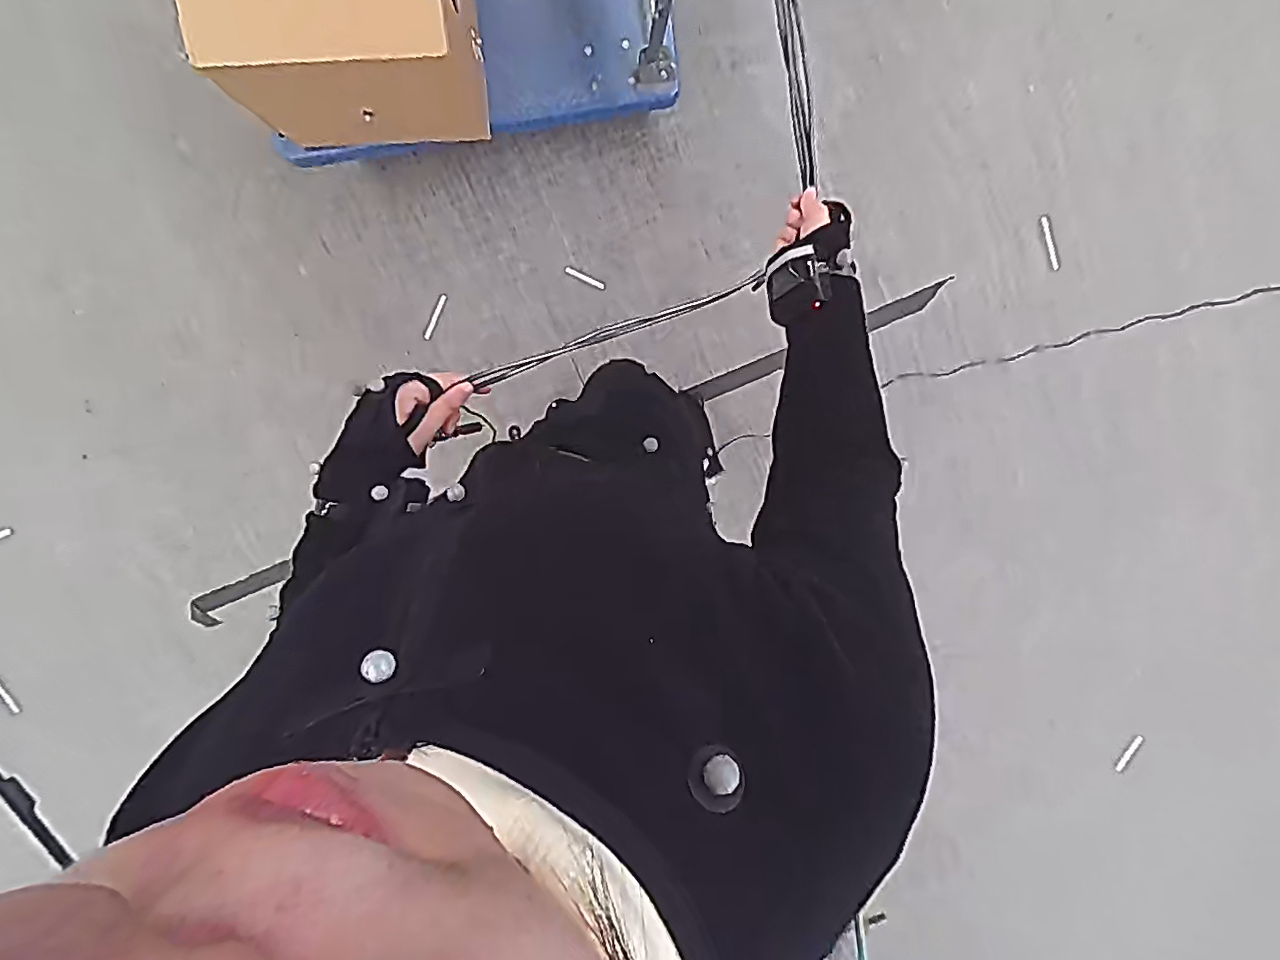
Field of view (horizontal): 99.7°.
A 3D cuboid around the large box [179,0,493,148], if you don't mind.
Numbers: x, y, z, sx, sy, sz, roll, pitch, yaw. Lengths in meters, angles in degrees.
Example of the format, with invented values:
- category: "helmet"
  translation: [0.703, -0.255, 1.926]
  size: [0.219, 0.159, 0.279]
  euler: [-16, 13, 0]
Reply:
- category: "large box"
  translation: [-0.511, -0.828, 0.964]
  size: [0.408, 0.320, 0.320]
  euler: [-4, 100, -2]
